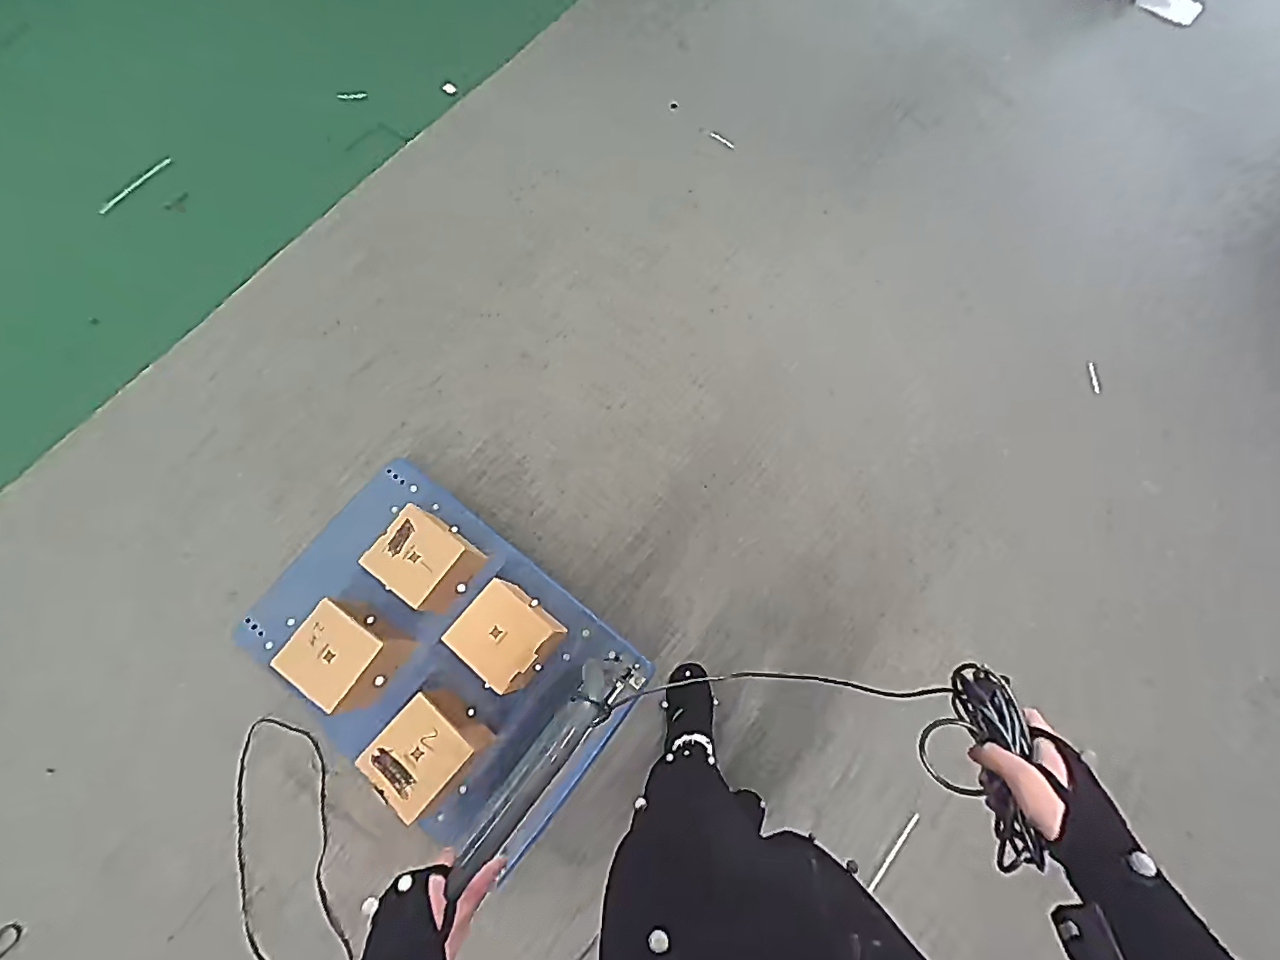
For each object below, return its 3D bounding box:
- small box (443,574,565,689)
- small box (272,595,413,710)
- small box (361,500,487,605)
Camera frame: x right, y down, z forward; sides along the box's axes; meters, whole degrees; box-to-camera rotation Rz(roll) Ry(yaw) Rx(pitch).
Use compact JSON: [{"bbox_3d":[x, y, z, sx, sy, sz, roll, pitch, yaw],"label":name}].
[{"bbox_3d":[-0.290,0.334,1.191,0.179,0.176,0.168,39,78,11],"label":"small box"},{"bbox_3d":[-0.641,0.374,1.190,0.179,0.176,0.168,33,77,11],"label":"small box"},{"bbox_3d":[-0.487,0.175,1.243,0.179,0.176,0.168,35,79,10],"label":"small box"}]
